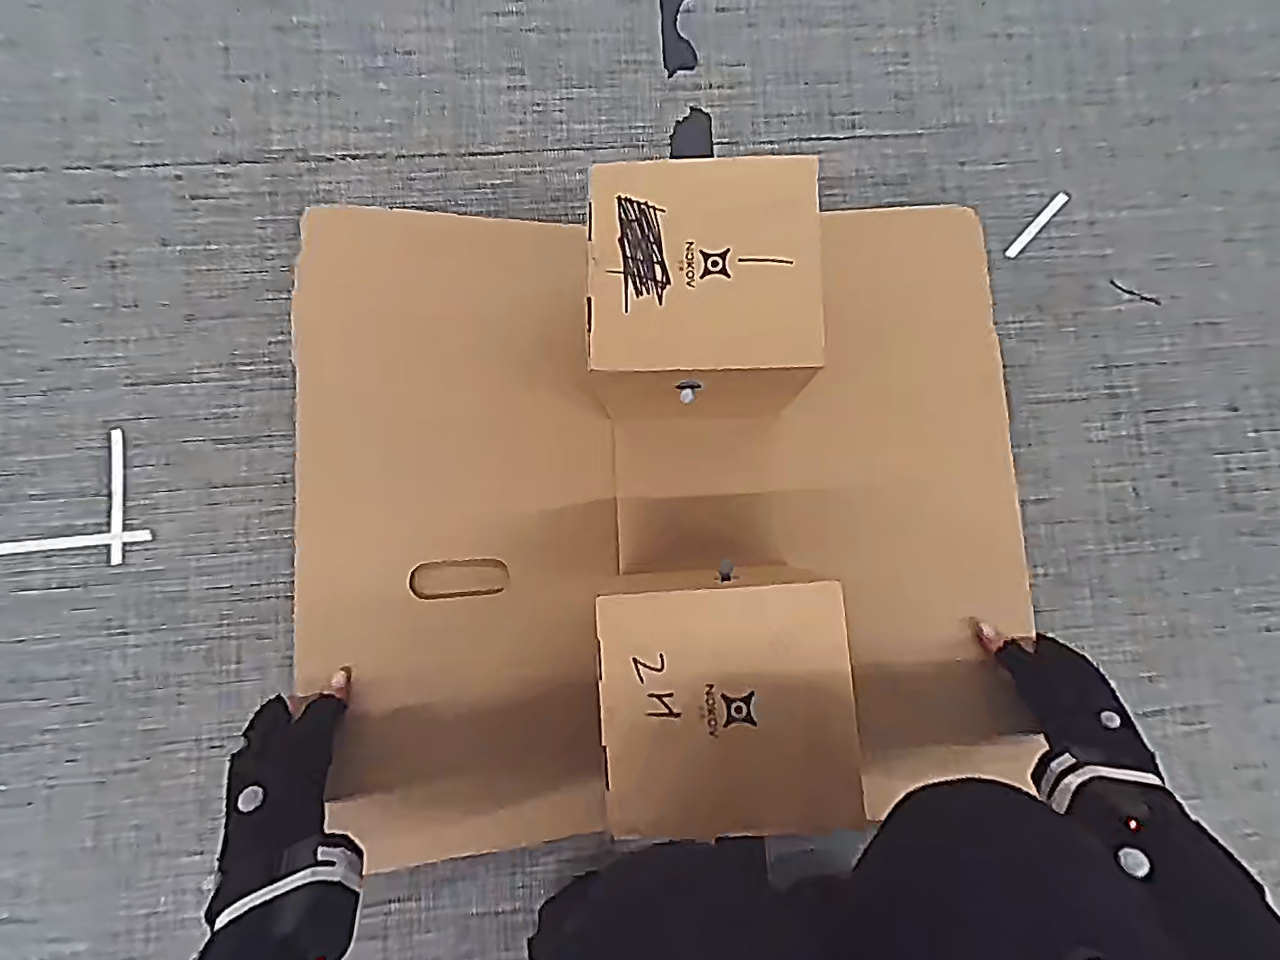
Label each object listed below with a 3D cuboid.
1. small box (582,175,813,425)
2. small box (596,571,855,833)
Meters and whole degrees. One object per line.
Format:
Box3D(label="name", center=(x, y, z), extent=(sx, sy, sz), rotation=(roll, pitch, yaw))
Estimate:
Box3D(label="small box", center=(0.046, -0.146, 0.495), extent=(0.179, 0.176, 0.168), rotation=(-1, 84, 2))
Box3D(label="small box", center=(0.062, 0.169, 0.462), extent=(0.179, 0.176, 0.168), rotation=(-4, 84, 4))
